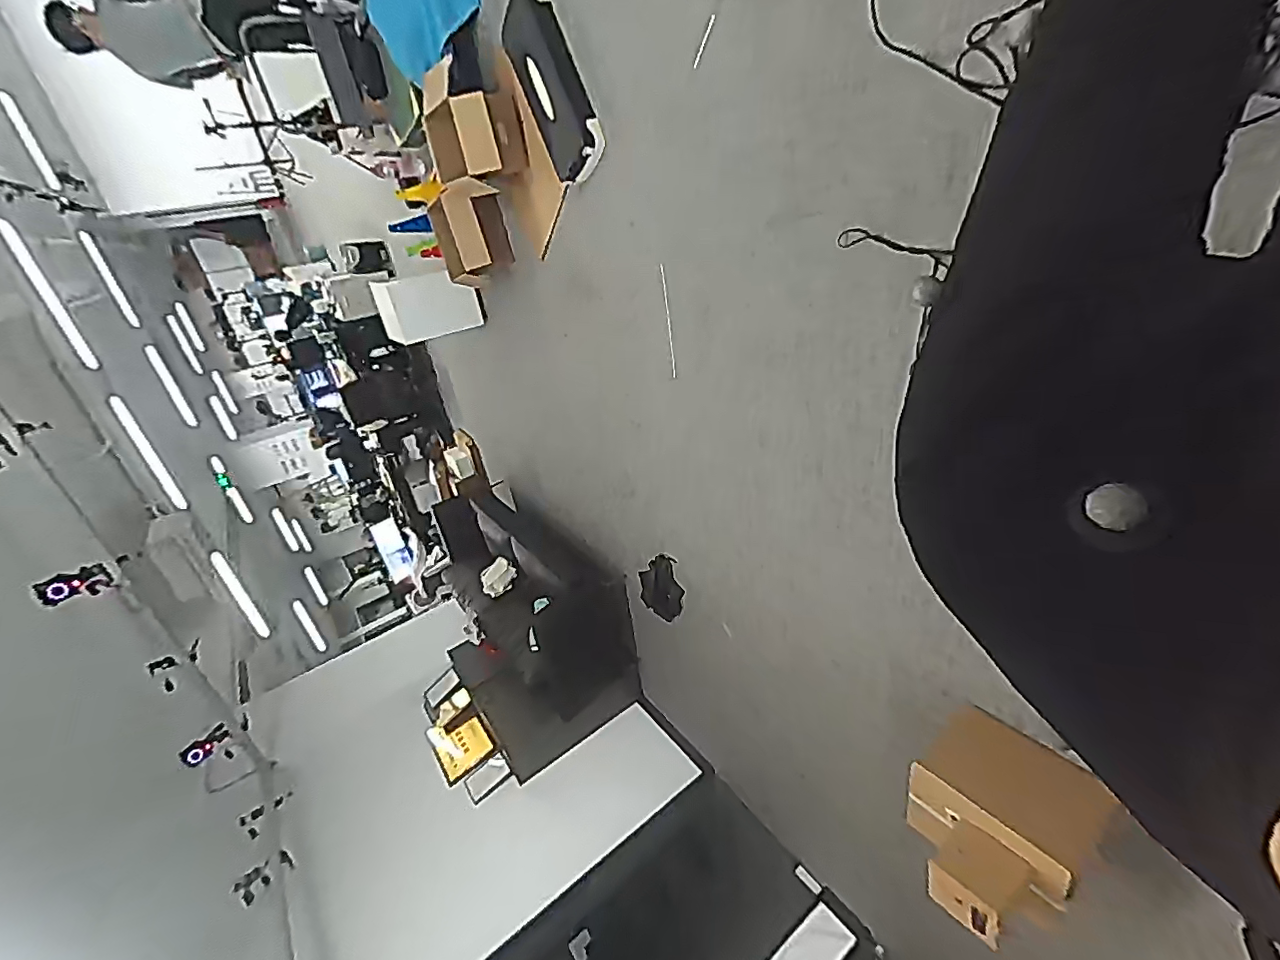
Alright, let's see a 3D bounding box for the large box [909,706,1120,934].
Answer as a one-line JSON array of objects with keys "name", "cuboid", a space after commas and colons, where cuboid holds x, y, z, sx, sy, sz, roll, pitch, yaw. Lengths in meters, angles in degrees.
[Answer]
[{"name": "large box", "cuboid": [1.071, 0.961, 1.581, 0.408, 0.320, 0.320, 28, 134, 51]}]
